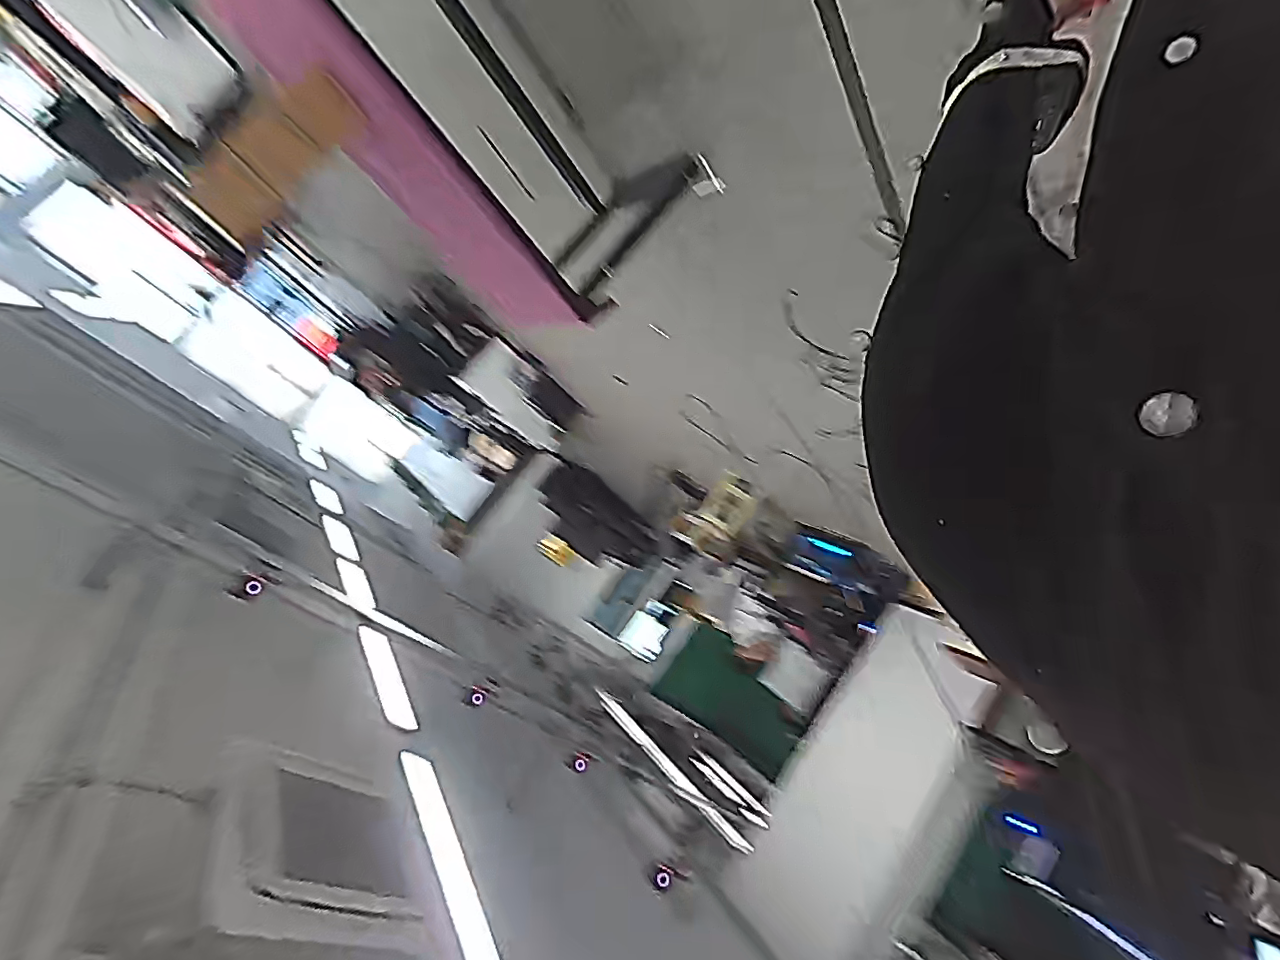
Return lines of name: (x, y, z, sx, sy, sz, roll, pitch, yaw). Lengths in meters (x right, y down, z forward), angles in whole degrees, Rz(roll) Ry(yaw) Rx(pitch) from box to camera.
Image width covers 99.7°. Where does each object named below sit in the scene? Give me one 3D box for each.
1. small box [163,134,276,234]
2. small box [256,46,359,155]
small box: (-1.089, -0.767, 1.406, 0.179, 0.176, 0.168, 28, 165, 46)
small box: (-0.900, -1.026, 1.470, 0.179, 0.176, 0.168, 25, 165, 47)
